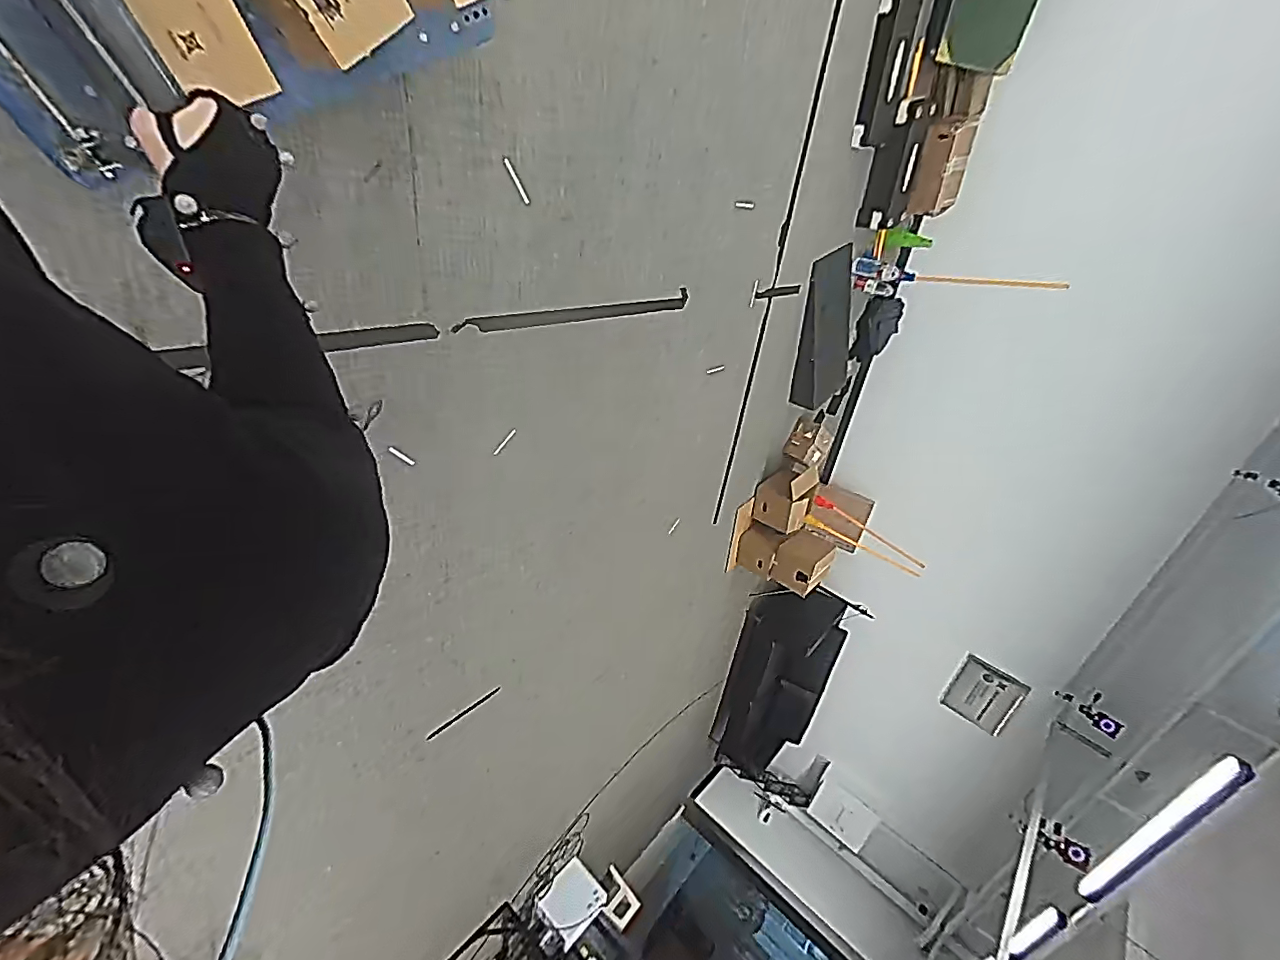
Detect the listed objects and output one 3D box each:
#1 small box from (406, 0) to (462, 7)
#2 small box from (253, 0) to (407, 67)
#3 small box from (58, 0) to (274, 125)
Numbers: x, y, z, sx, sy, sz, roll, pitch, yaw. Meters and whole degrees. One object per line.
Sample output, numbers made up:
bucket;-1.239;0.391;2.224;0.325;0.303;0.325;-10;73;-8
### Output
small box;-0.367;-1.012;1.007;0.179;0.176;0.168;-46;146;-22
small box;-0.542;-0.828;0.906;0.179;0.176;0.168;-52;148;-15
small box;-0.709;-0.658;0.810;0.179;0.176;0.168;-44;146;-25
